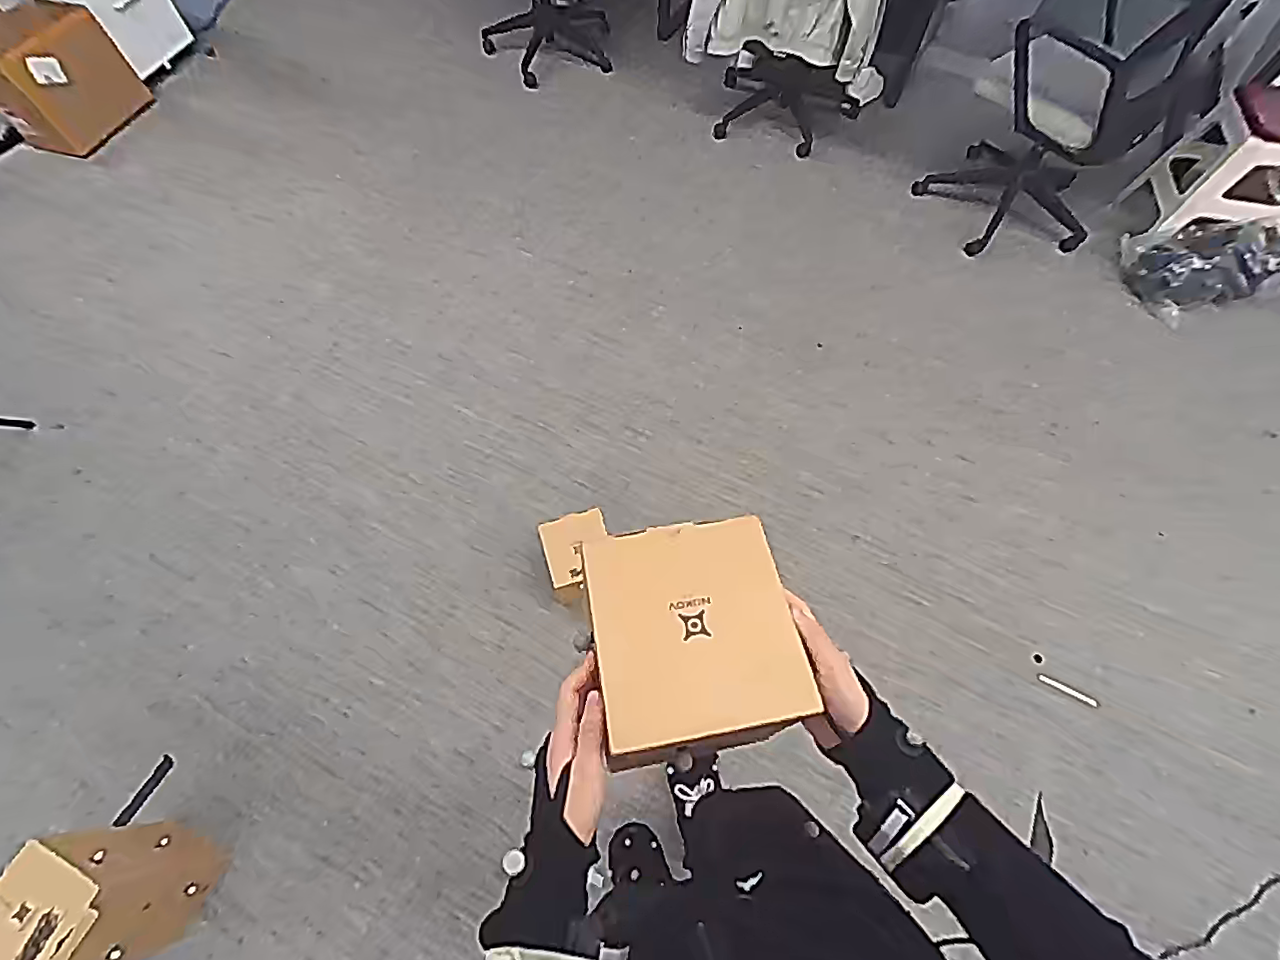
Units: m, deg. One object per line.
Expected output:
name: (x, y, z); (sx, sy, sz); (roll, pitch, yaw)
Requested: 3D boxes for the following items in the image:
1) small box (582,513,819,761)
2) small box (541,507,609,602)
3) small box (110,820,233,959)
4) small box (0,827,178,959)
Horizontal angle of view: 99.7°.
small box: (0.040, 0.155, 0.512); (0.168, 0.176, 0.179); (-8, 57, -8)
small box: (-0.154, 0.198, 1.424); (0.168, 0.176, 0.179); (-16, 65, -9)
small box: (-1.005, 0.828, 1.113); (0.179, 0.176, 0.168); (21, 65, 11)
small box: (-1.002, 0.751, 0.968); (0.179, 0.176, 0.168); (22, 65, 11)
